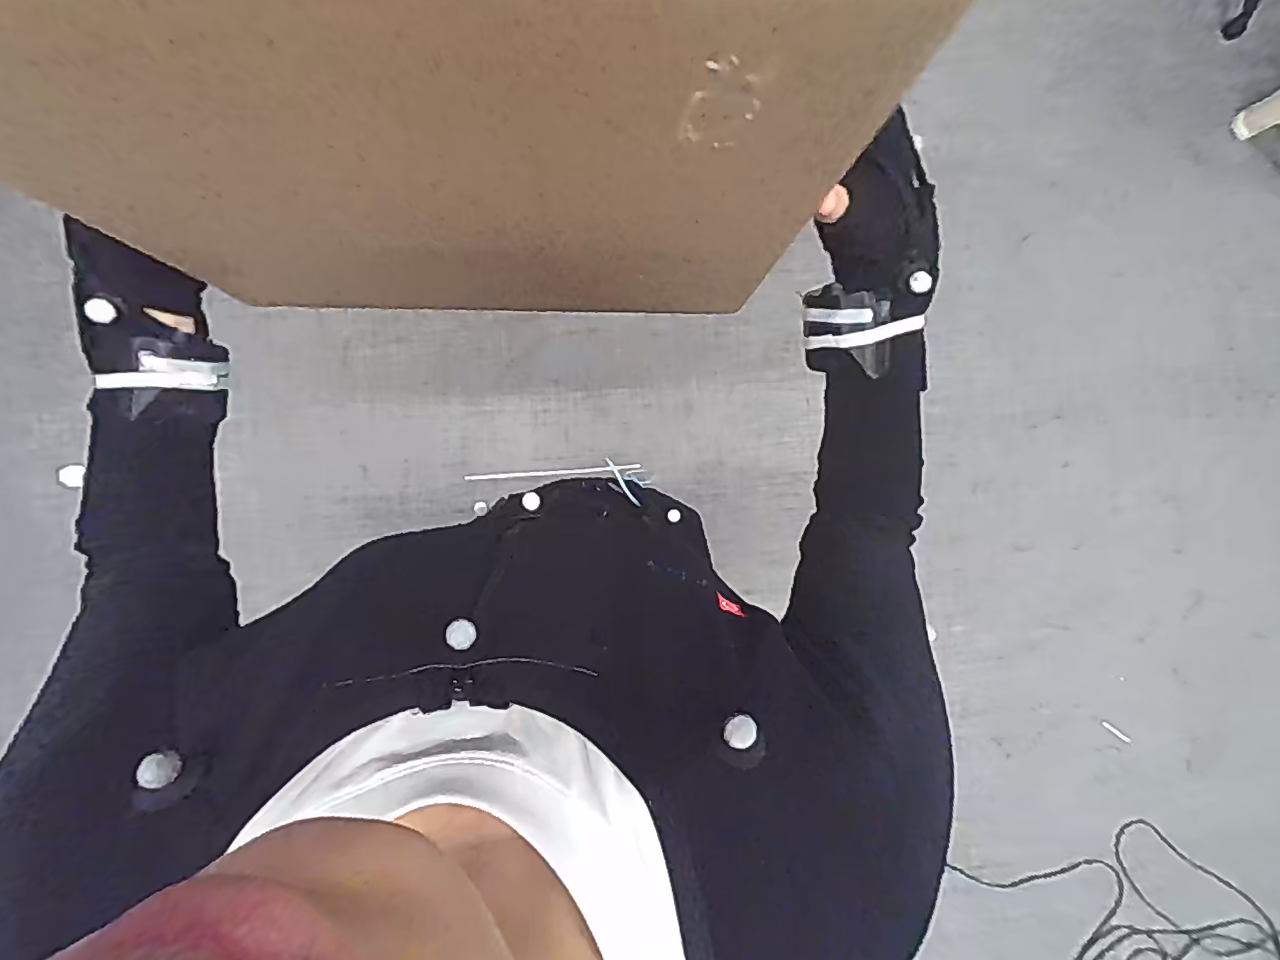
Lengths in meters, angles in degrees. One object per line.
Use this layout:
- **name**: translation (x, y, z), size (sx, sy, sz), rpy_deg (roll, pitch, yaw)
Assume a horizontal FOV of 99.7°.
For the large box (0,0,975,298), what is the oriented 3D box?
- **large box**: translation (-0.096, -0.304, 0.299), size (0.408, 0.320, 0.320), rpy_deg (0, 91, -5)
